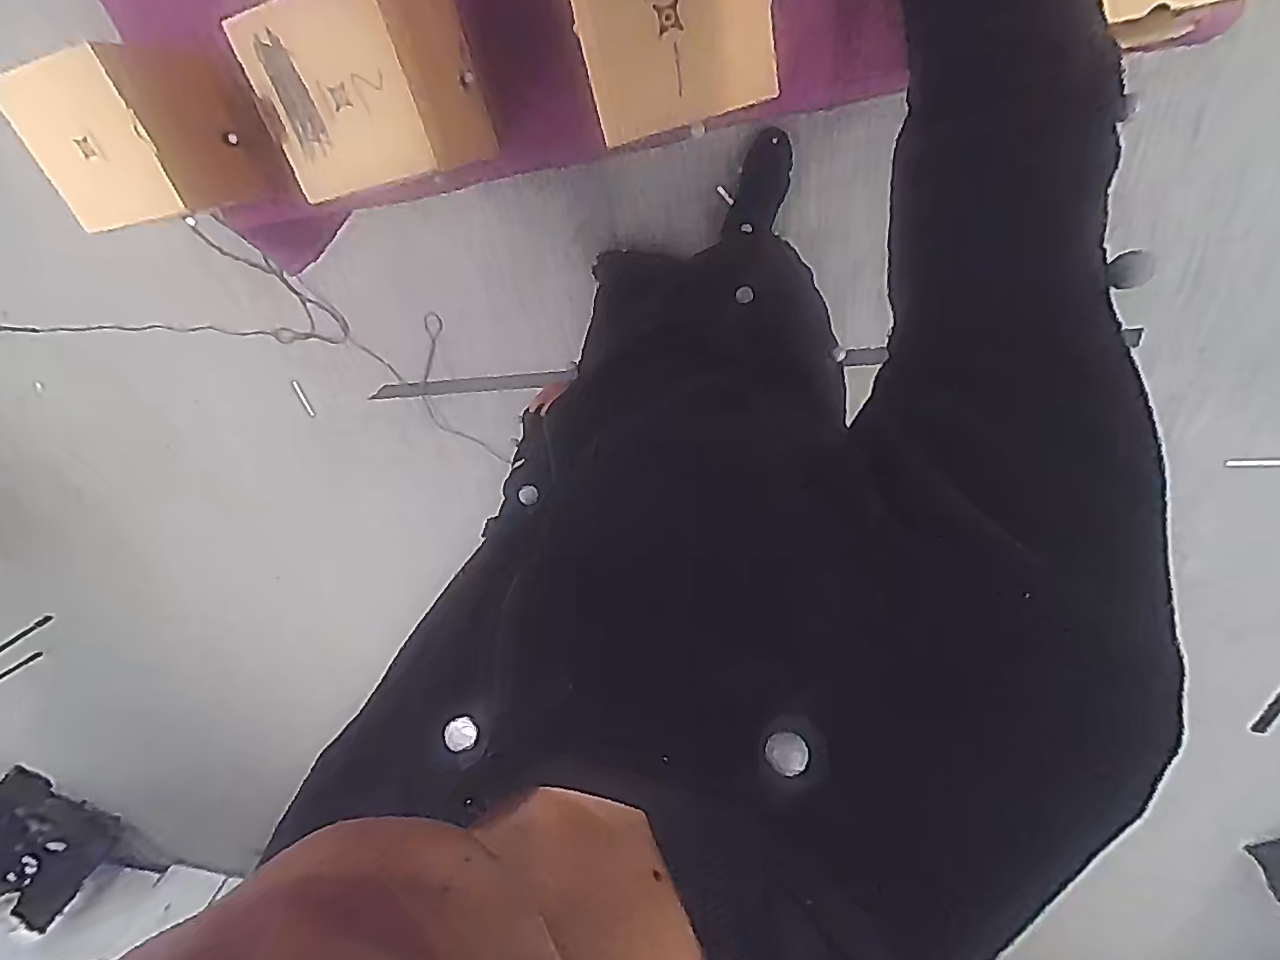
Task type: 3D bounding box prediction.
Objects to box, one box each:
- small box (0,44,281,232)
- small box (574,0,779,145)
[{"bbox_3d":[-0.621,-0.431,0.694,0.179,0.176,0.168,-3,124,14],"label":"small box"},{"bbox_3d":[0.040,-0.447,0.520,0.168,0.176,0.179,-5,124,18],"label":"small box"}]
